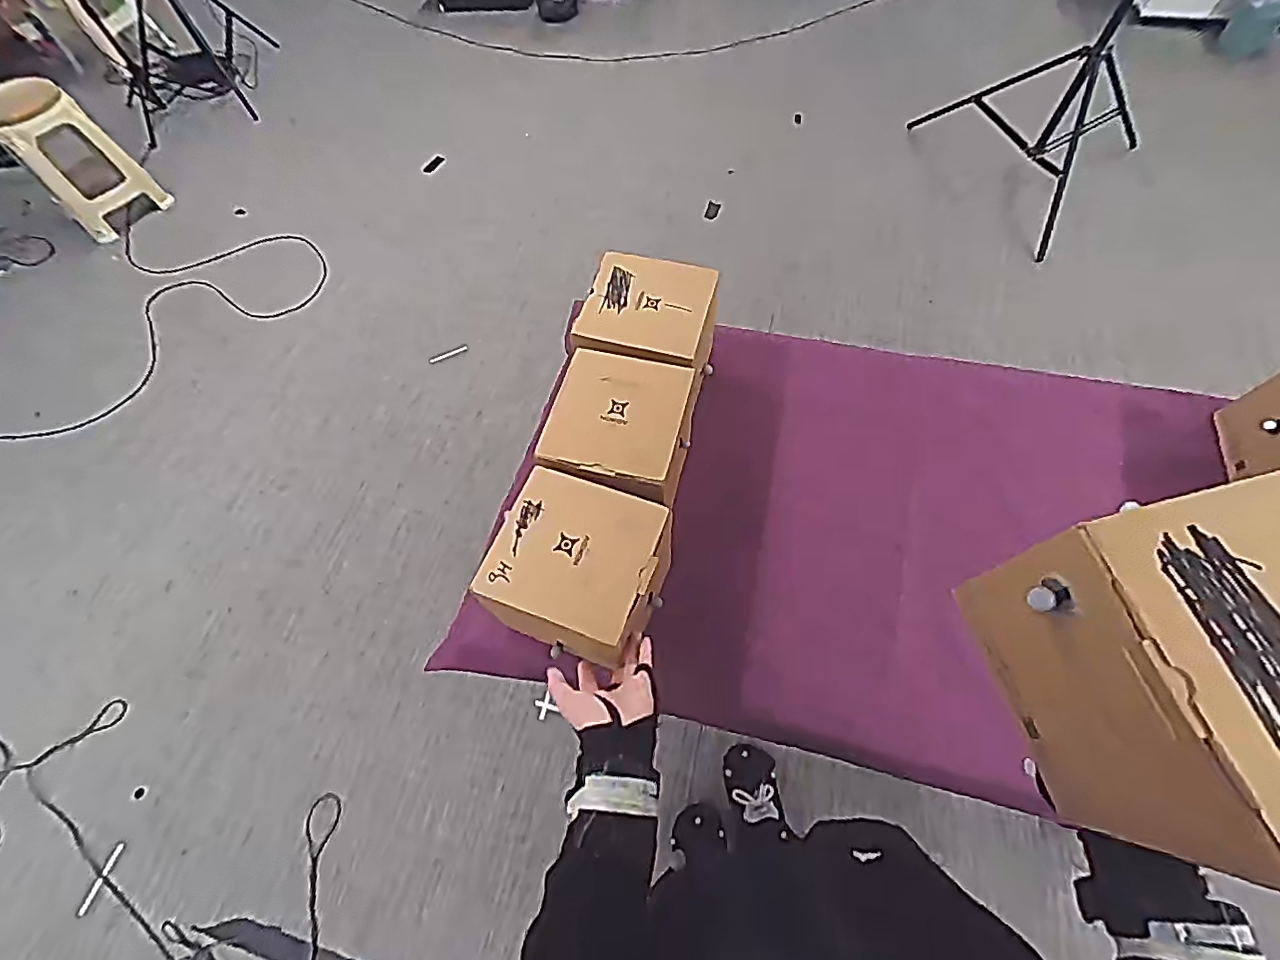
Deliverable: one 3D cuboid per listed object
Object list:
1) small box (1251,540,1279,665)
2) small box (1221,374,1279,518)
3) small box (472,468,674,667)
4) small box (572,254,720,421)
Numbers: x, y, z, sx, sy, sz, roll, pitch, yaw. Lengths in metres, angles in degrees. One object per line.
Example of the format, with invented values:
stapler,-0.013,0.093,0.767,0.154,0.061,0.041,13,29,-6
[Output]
small box,0.855,0.149,0.598,0.168,0.176,0.179,16,63,12
small box,0.911,-0.046,0.691,0.179,0.176,0.168,13,65,9
small box,-0.069,0.116,0.664,0.179,0.176,0.168,19,63,11
small box,0.014,-0.211,0.830,0.179,0.176,0.168,14,66,9
